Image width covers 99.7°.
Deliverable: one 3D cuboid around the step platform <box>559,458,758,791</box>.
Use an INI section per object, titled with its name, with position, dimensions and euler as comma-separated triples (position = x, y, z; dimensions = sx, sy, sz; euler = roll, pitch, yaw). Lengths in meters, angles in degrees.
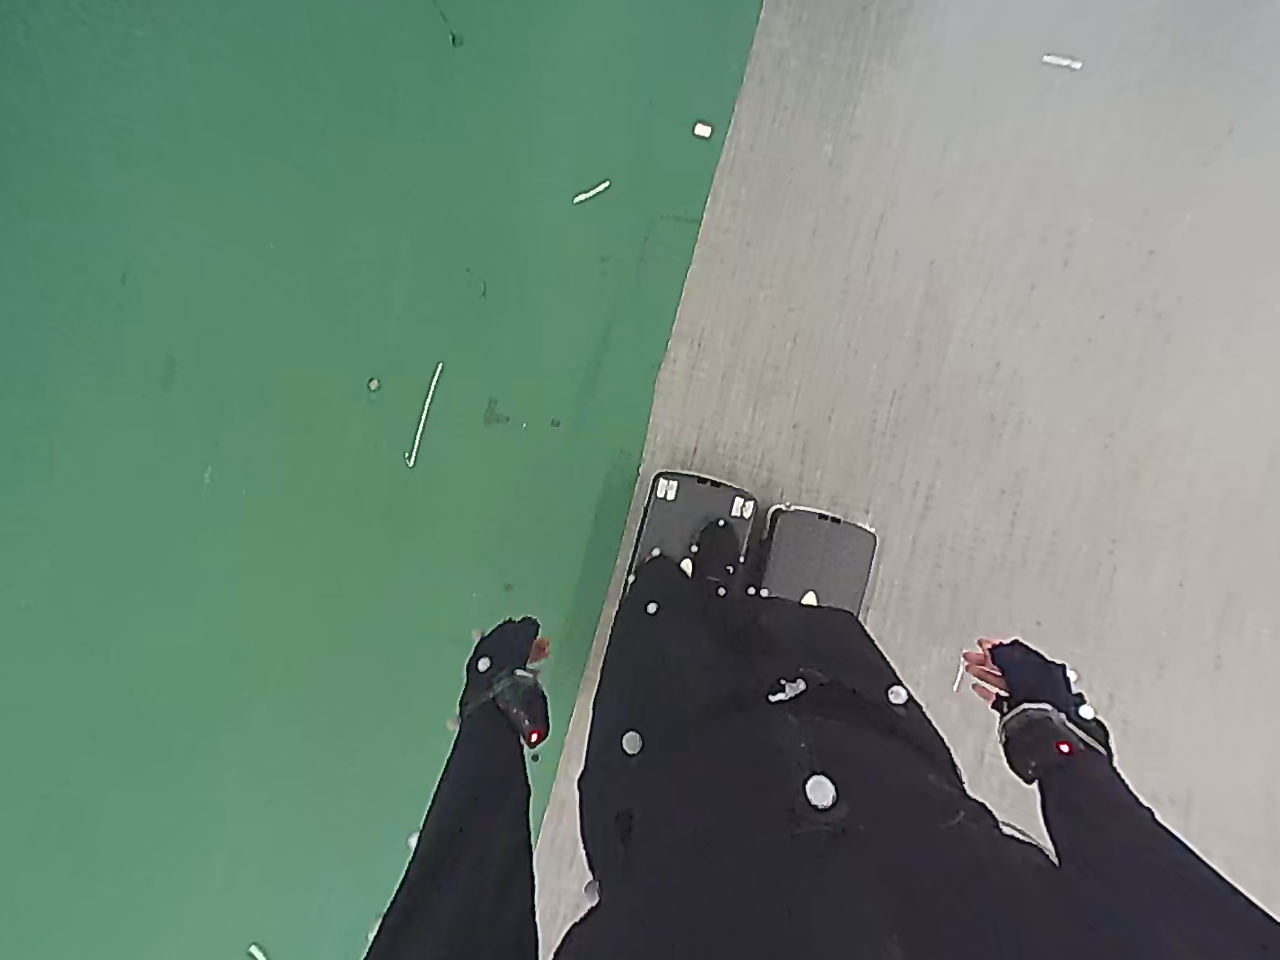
[step platform]
position = 0.044, 0.302, 1.225
dimensions = 0.286, 0.204, 0.684
euler = 15, 89, 2
